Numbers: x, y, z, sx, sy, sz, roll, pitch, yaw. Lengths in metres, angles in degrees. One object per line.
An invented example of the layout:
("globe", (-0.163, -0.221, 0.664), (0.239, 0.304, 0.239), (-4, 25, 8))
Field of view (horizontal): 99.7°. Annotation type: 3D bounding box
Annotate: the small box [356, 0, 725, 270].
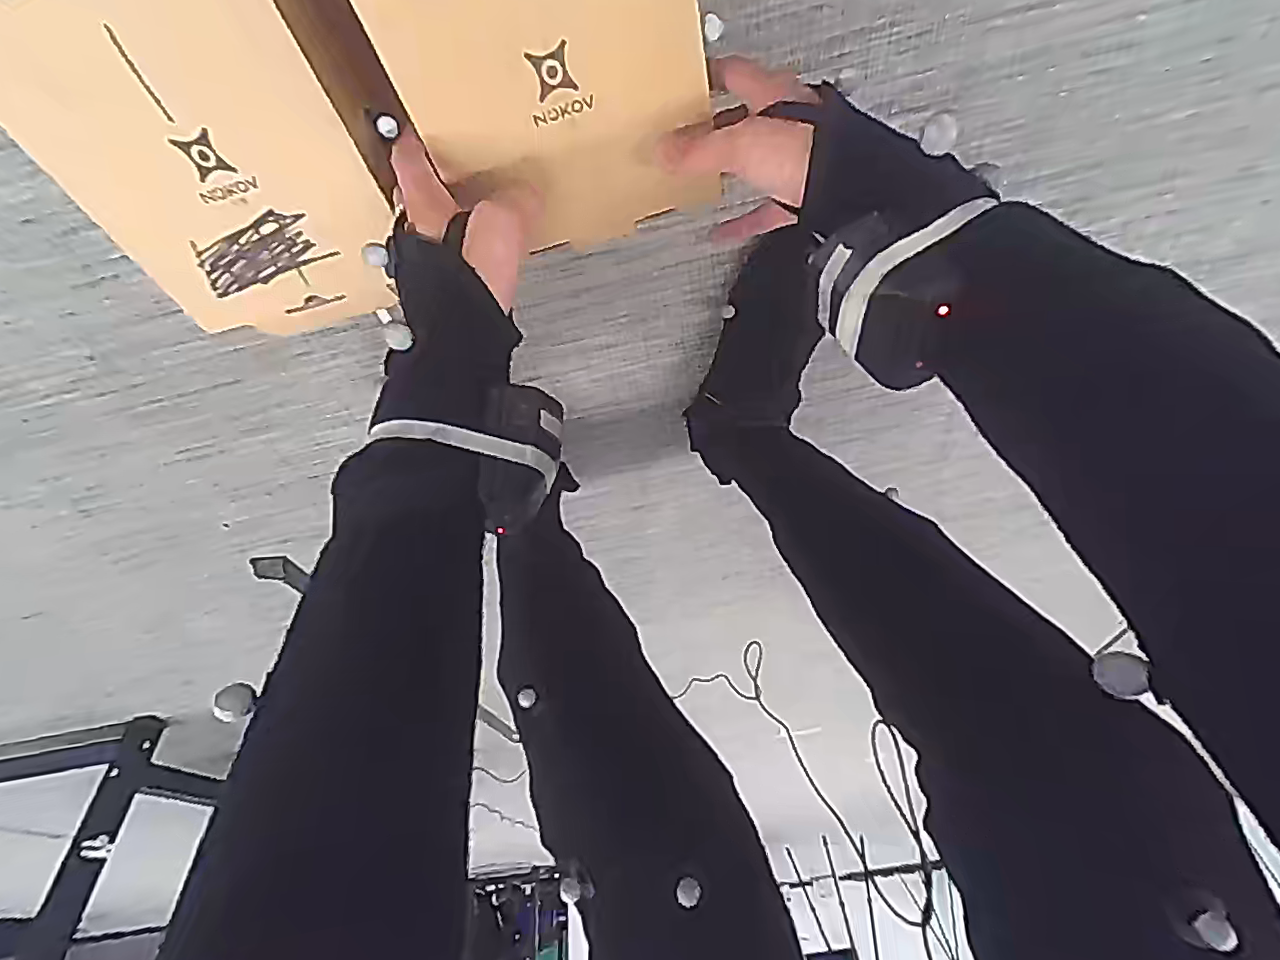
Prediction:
("small box", (-0.053, -0.275, 0.345), (0.168, 0.176, 0.179), (-14, 141, 7))
